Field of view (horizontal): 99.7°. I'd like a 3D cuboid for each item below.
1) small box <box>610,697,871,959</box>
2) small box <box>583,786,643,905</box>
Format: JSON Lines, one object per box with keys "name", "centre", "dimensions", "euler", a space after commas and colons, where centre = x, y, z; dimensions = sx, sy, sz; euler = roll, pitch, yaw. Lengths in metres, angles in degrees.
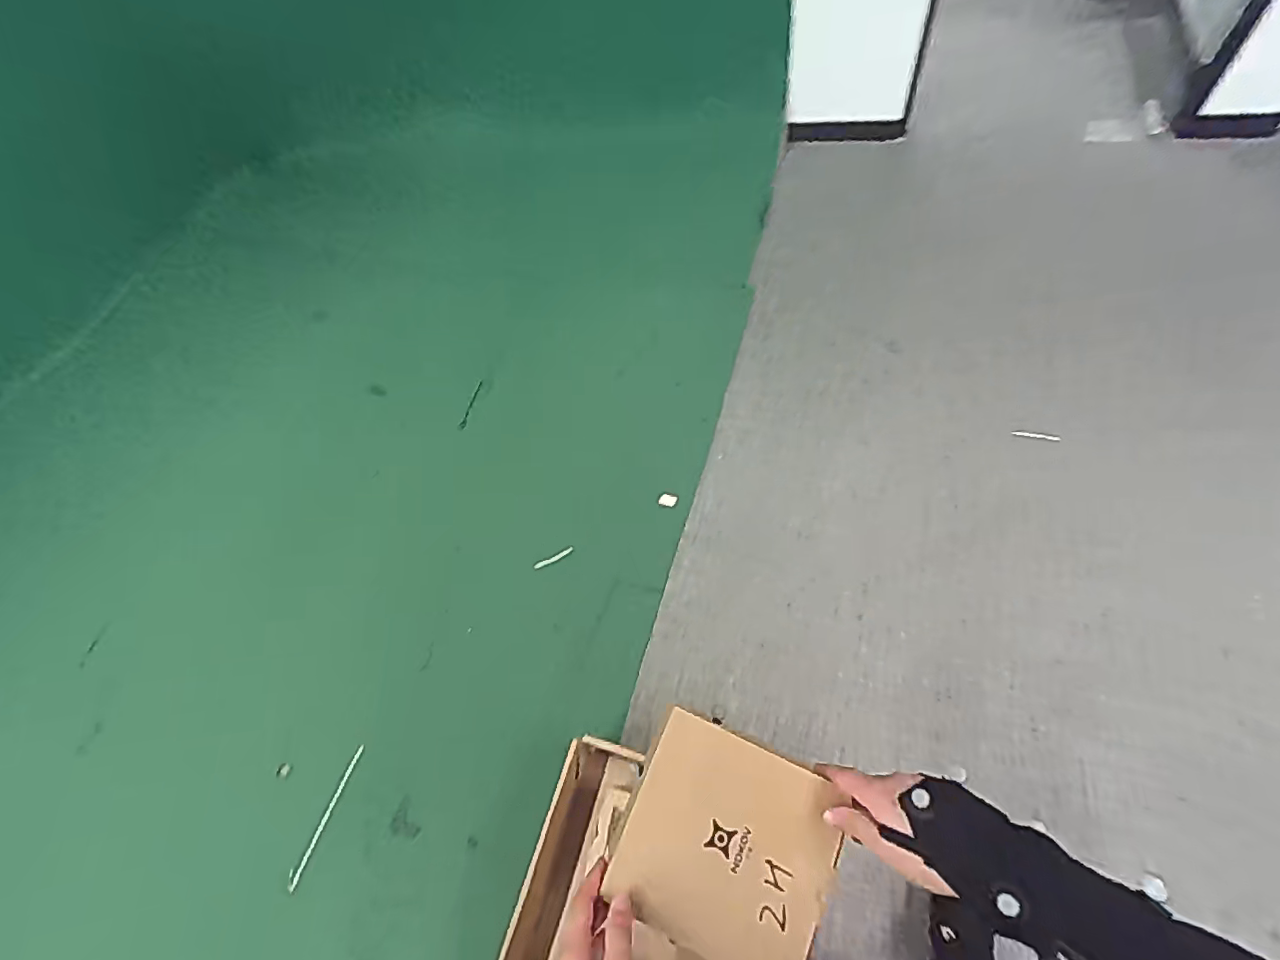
{"name": "small box", "centre": [0.090, 0.329, 0.529], "dimensions": [0.179, 0.176, 0.168], "euler": [23, 74, 11]}
{"name": "small box", "centre": [0.009, 0.725, 1.074], "dimensions": [0.179, 0.176, 0.168], "euler": [11, 64, 14]}
